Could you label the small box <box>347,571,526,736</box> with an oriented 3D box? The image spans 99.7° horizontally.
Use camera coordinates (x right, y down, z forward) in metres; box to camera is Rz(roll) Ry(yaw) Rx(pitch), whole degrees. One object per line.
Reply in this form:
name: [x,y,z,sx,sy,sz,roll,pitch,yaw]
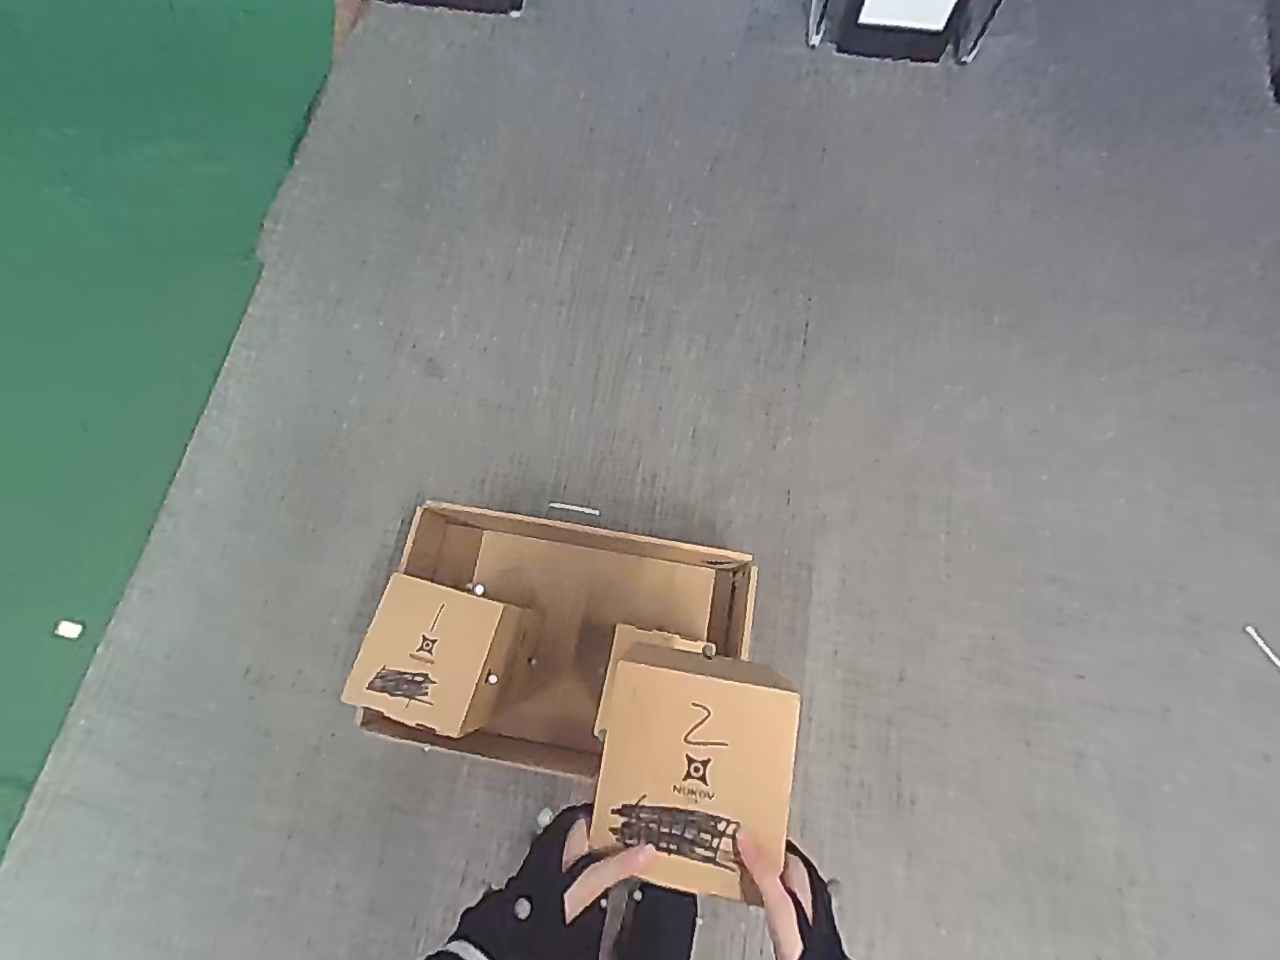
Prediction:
small box: [-0.281,0.250,0.795,0.168,0.176,0.179,16,73,4]
